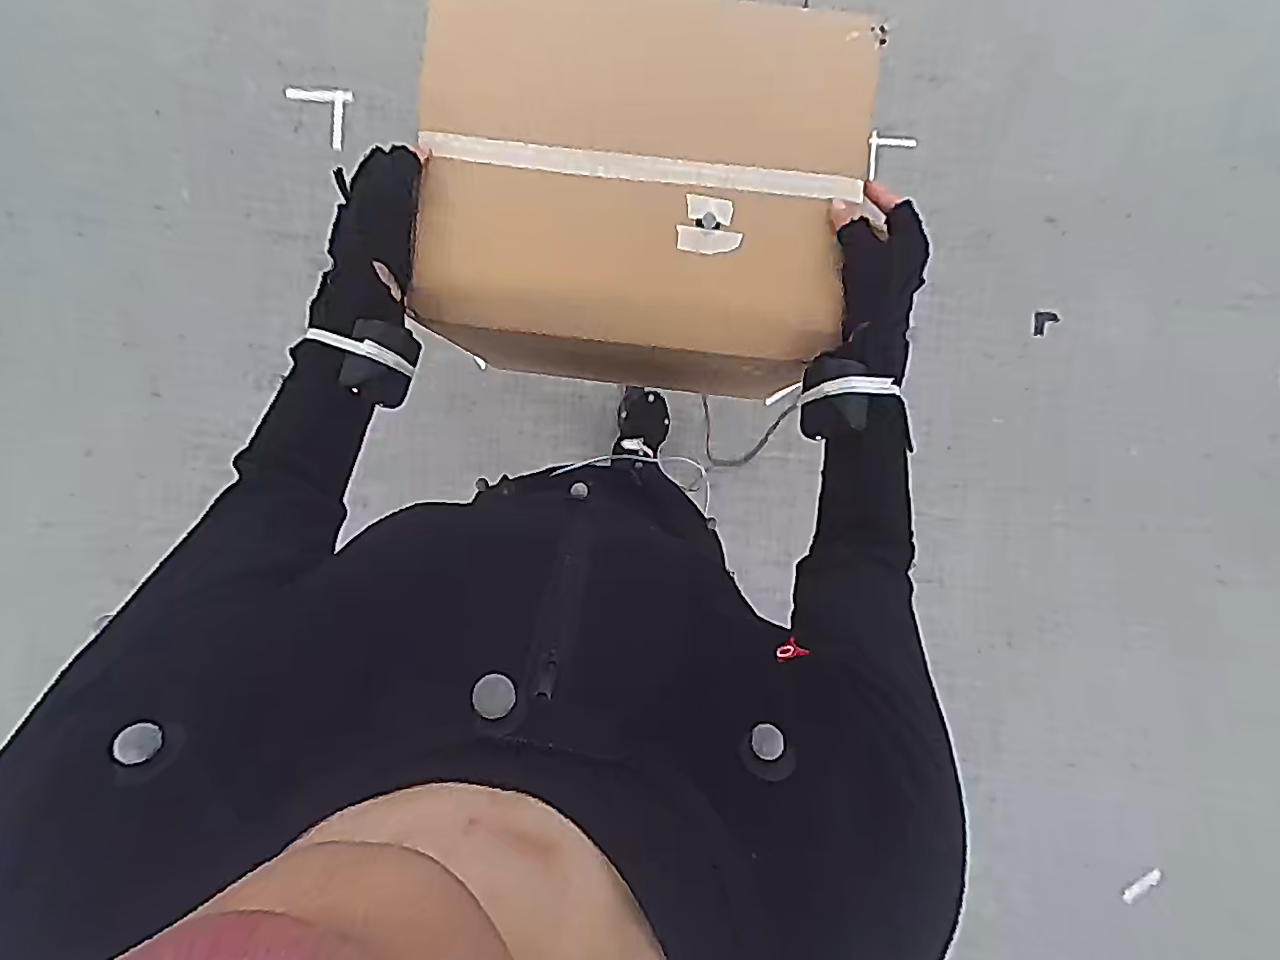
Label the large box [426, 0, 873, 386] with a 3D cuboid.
[{"bbox_3d":[0.004,-0.302,0.656,0.408,0.320,0.320,6,94,-1],"label":"large box"}]
